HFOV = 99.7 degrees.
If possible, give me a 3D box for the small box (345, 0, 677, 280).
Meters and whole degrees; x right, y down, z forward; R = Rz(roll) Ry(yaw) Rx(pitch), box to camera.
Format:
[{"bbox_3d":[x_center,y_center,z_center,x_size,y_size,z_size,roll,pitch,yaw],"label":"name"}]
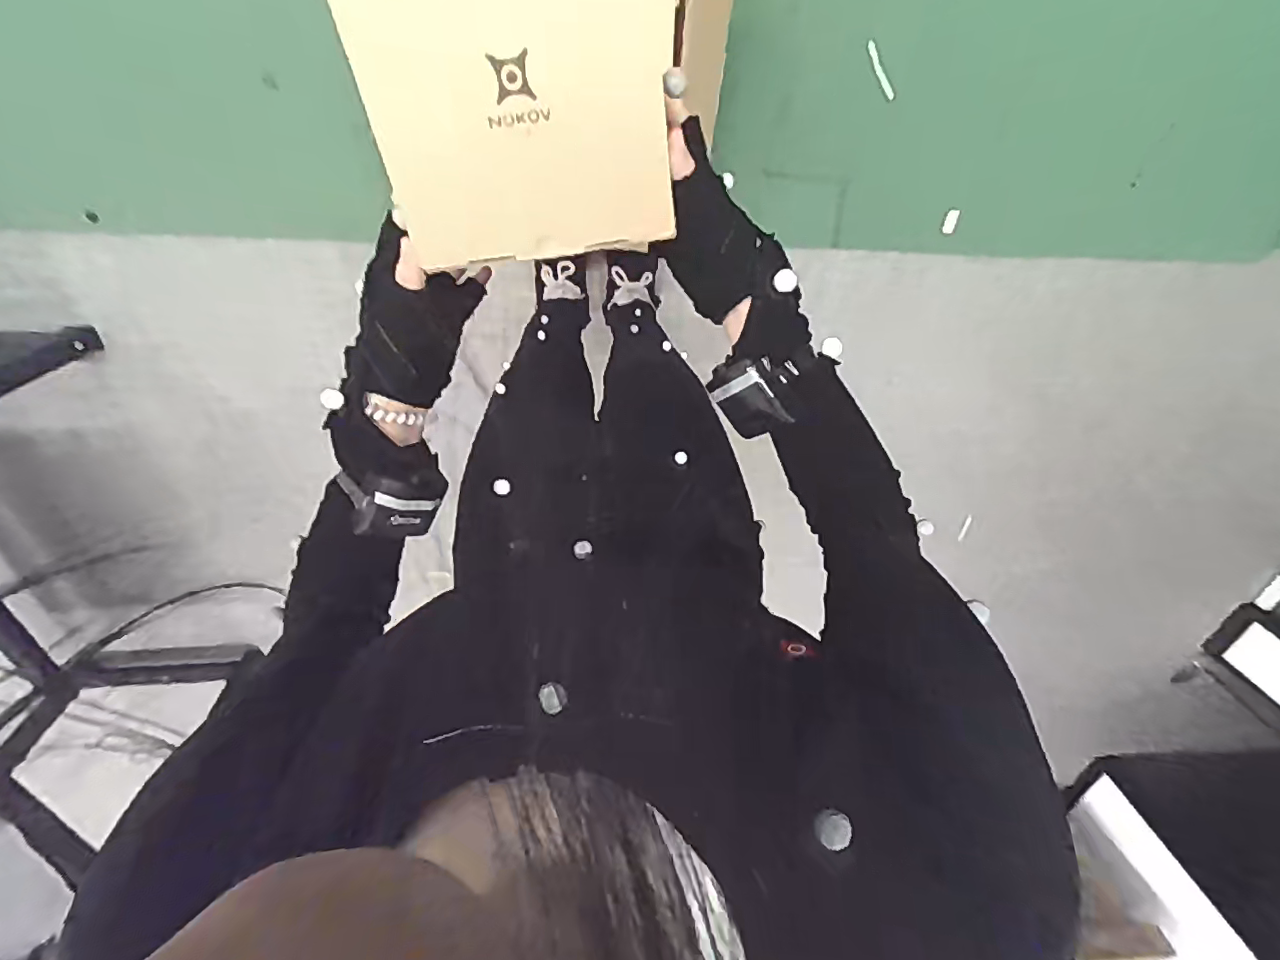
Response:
[{"bbox_3d":[-0.071,-0.260,0.375,0.168,0.176,0.179,-8,127,1],"label":"small box"}]
